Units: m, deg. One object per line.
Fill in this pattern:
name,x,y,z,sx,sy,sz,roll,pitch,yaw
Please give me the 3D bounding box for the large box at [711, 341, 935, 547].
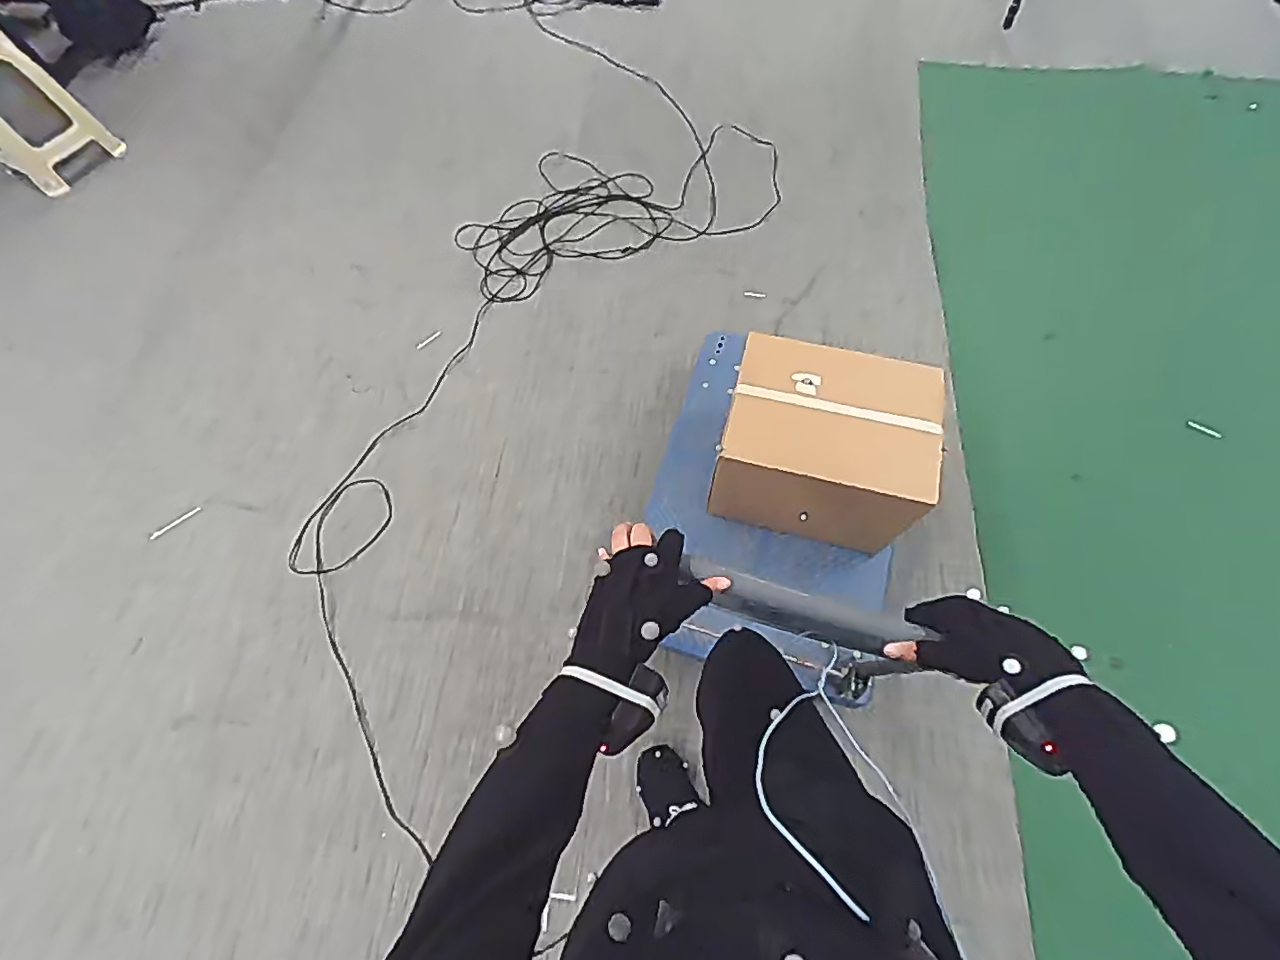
large box,0.393,-0.070,1.220,0.408,0.320,0.320,12,66,9
